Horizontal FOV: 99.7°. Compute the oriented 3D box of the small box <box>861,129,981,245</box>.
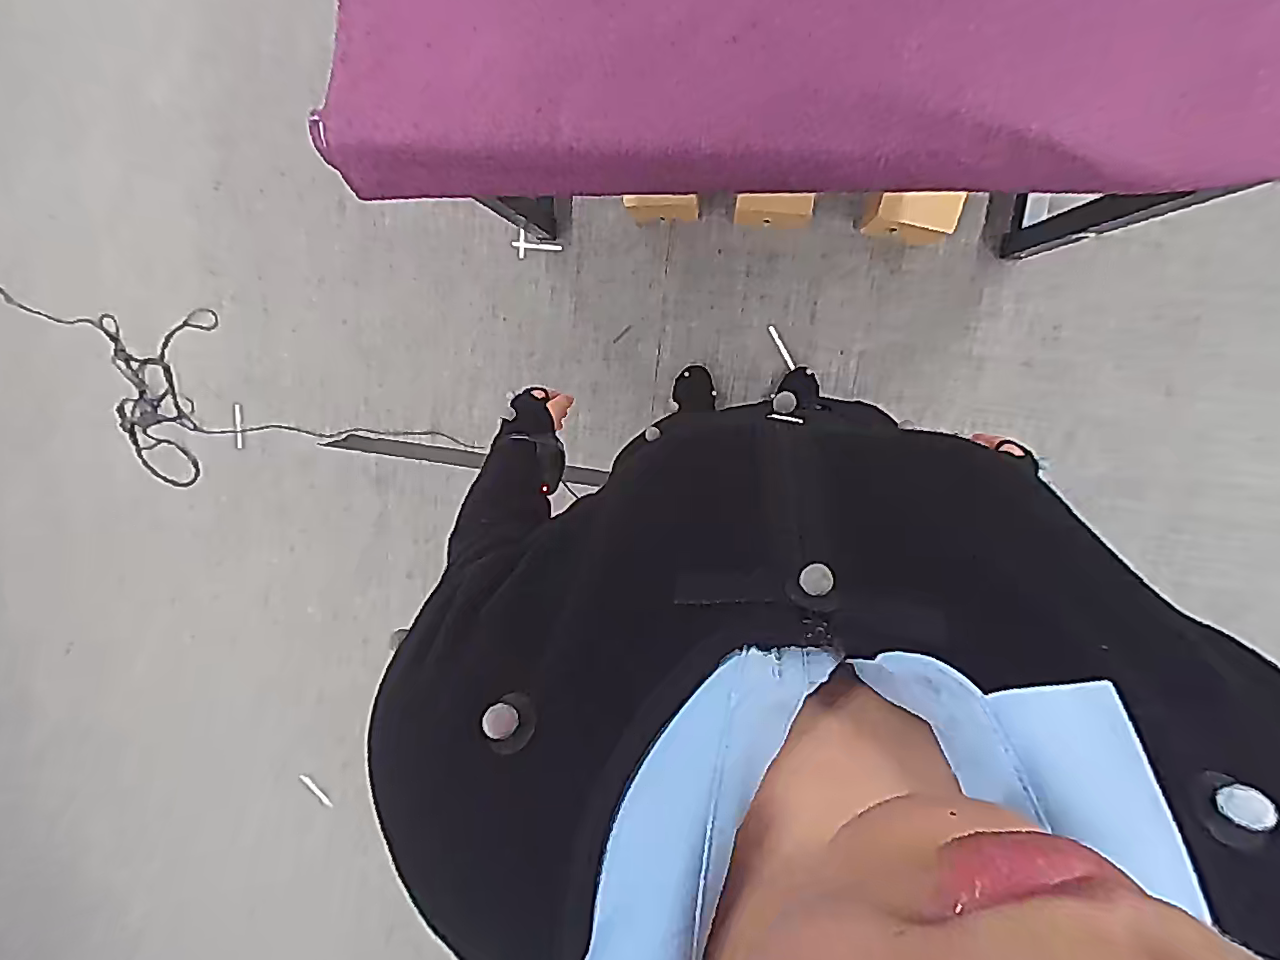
[{"bbox_3d":[0.616,-0.646,1.213,0.168,0.176,0.179,15,104,5],"label":"small box"}]

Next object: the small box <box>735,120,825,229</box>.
[{"bbox_3d":[0.312,-0.690,1.241,0.168,0.176,0.179,8,104,5],"label":"small box"}]
